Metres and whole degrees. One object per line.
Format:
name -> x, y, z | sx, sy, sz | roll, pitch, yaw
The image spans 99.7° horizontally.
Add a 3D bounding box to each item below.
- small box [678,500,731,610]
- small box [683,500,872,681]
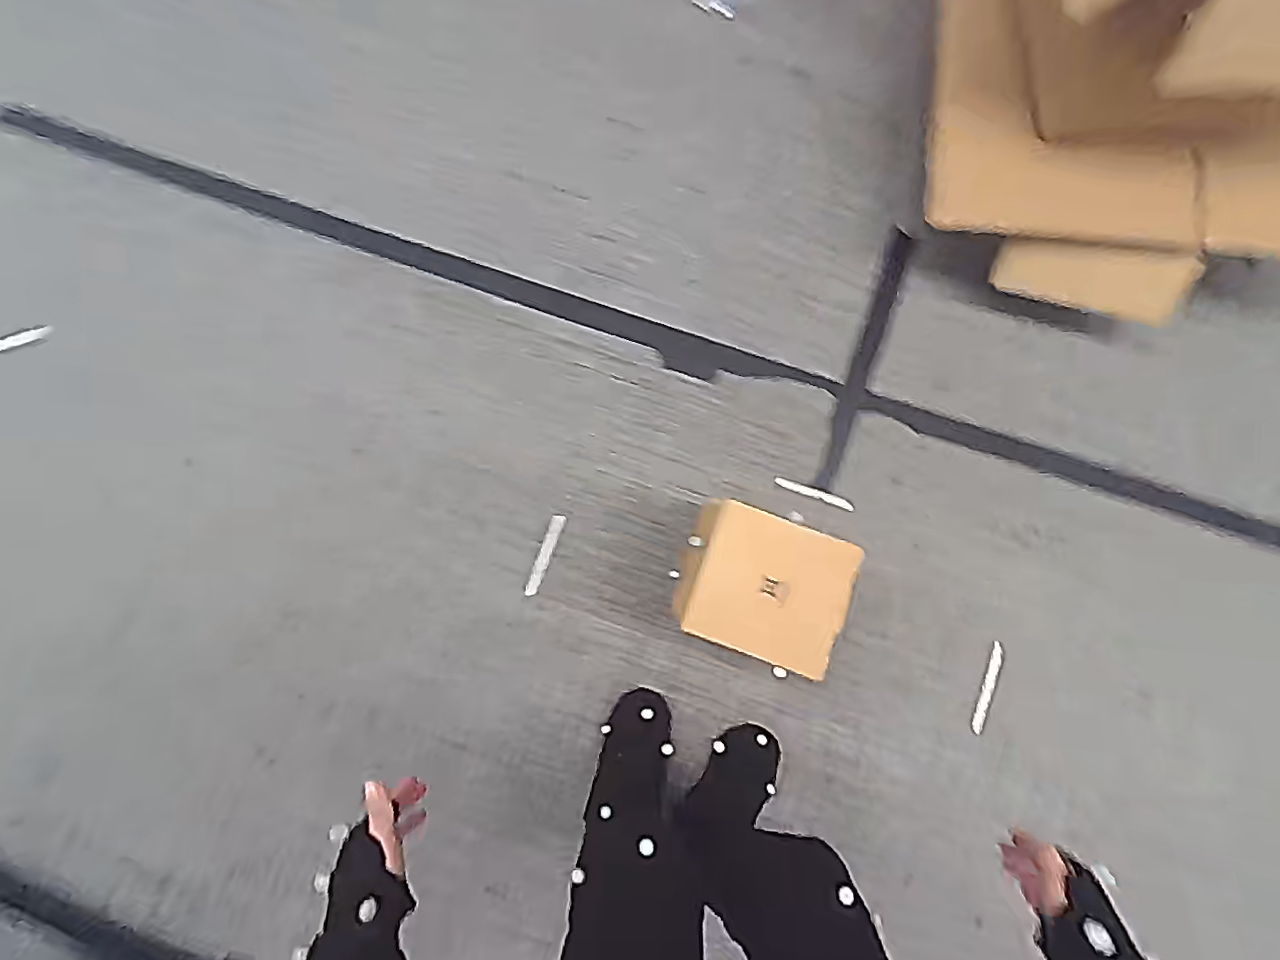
small box -> 0.166, 0.146, 0.875 | 0.168, 0.176, 0.179 | 20, 83, 1
small box -> 0.165, 0.138, 0.712 | 0.179, 0.176, 0.168 | 21, 84, 1
